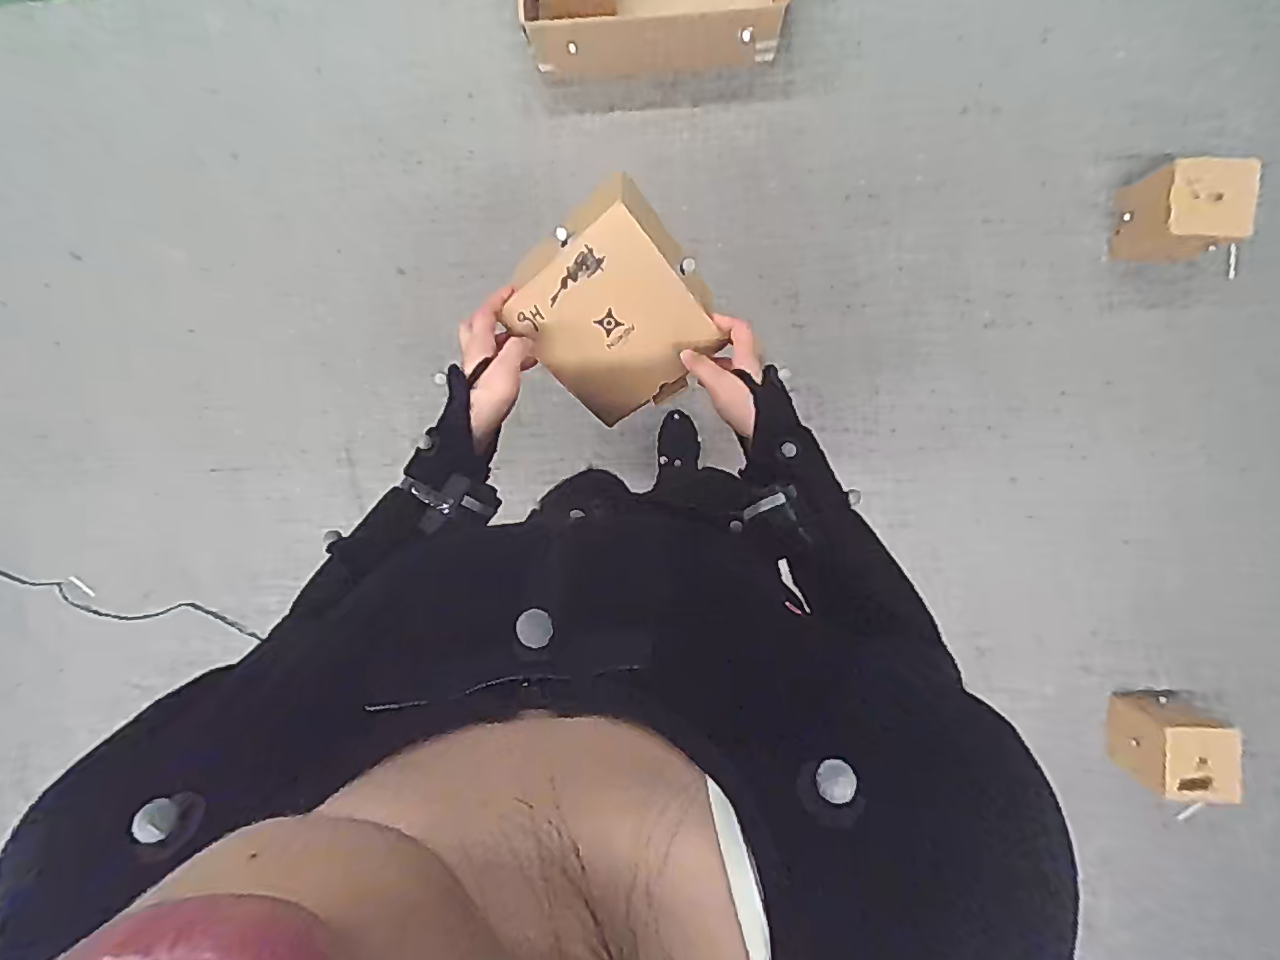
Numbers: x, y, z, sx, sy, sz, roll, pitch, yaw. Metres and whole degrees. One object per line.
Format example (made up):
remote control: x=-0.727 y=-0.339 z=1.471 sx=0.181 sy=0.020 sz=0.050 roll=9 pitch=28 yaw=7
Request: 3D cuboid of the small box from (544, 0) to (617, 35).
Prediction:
small box: x=-0.147 y=-1.193 z=1.257 sx=0.168 sy=0.176 sz=0.179 roll=-4 pitch=96 yaw=4

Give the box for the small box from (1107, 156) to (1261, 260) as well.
small box: x=1.248 y=-0.621 z=1.252 sx=0.179 sy=0.176 sz=0.168 roll=4 pitch=94 yaw=4

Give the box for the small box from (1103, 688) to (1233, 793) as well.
small box: x=1.305 y=0.645 z=1.350 sx=0.168 sy=0.176 sz=0.179 roll=-1 pitch=94 yaw=4

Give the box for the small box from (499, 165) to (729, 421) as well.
small box: x=-0.025 y=-0.206 z=0.596 sx=0.168 sy=0.176 sz=0.179 roll=-32 pitch=125 yaw=22
